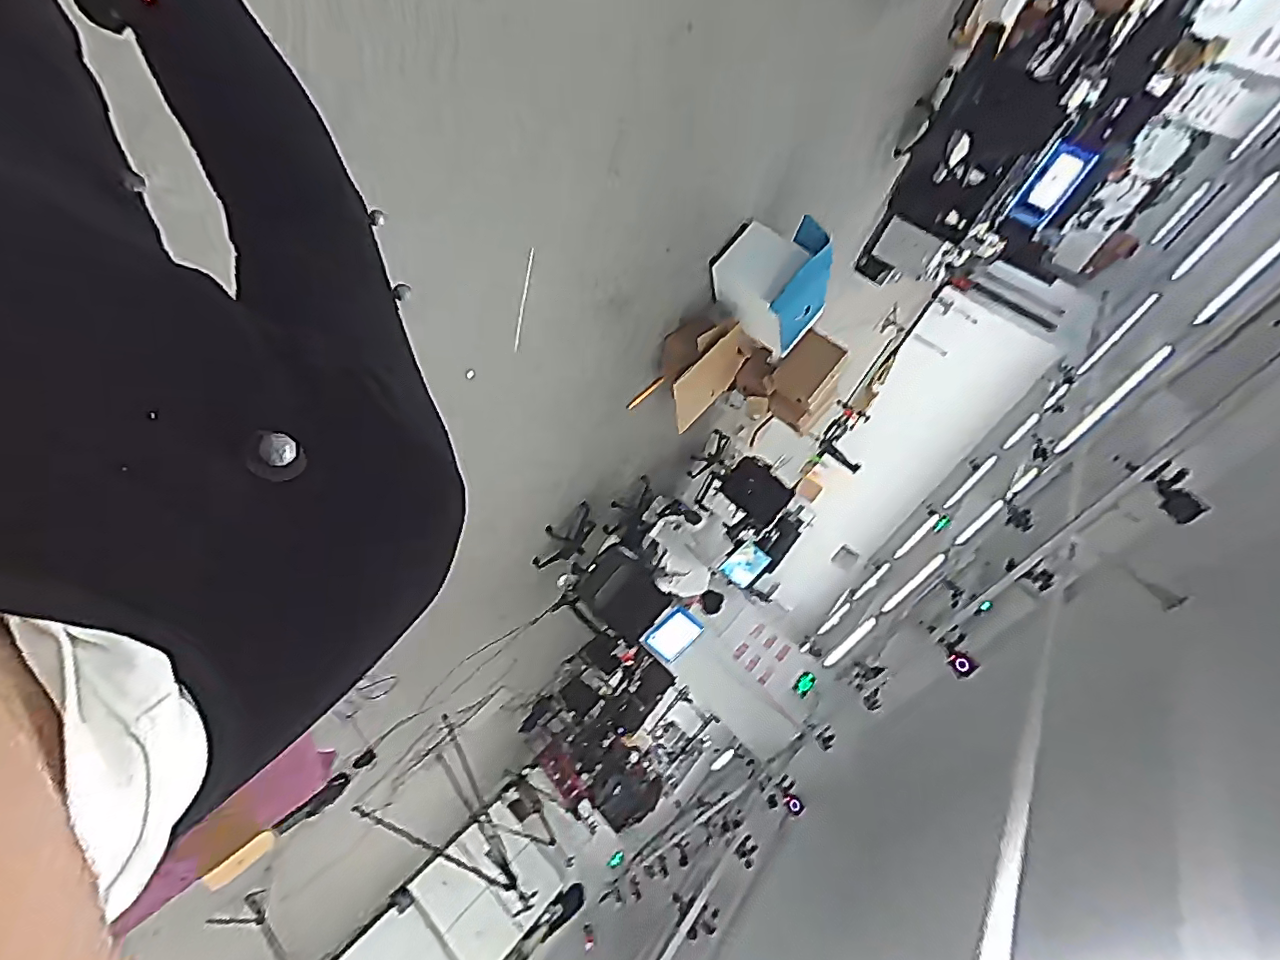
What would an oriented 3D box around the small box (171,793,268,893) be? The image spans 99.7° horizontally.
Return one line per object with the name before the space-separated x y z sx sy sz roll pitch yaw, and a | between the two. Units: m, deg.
small box | -1.254 1.081 1.619 0.168 0.176 0.179 -32 154 -43
